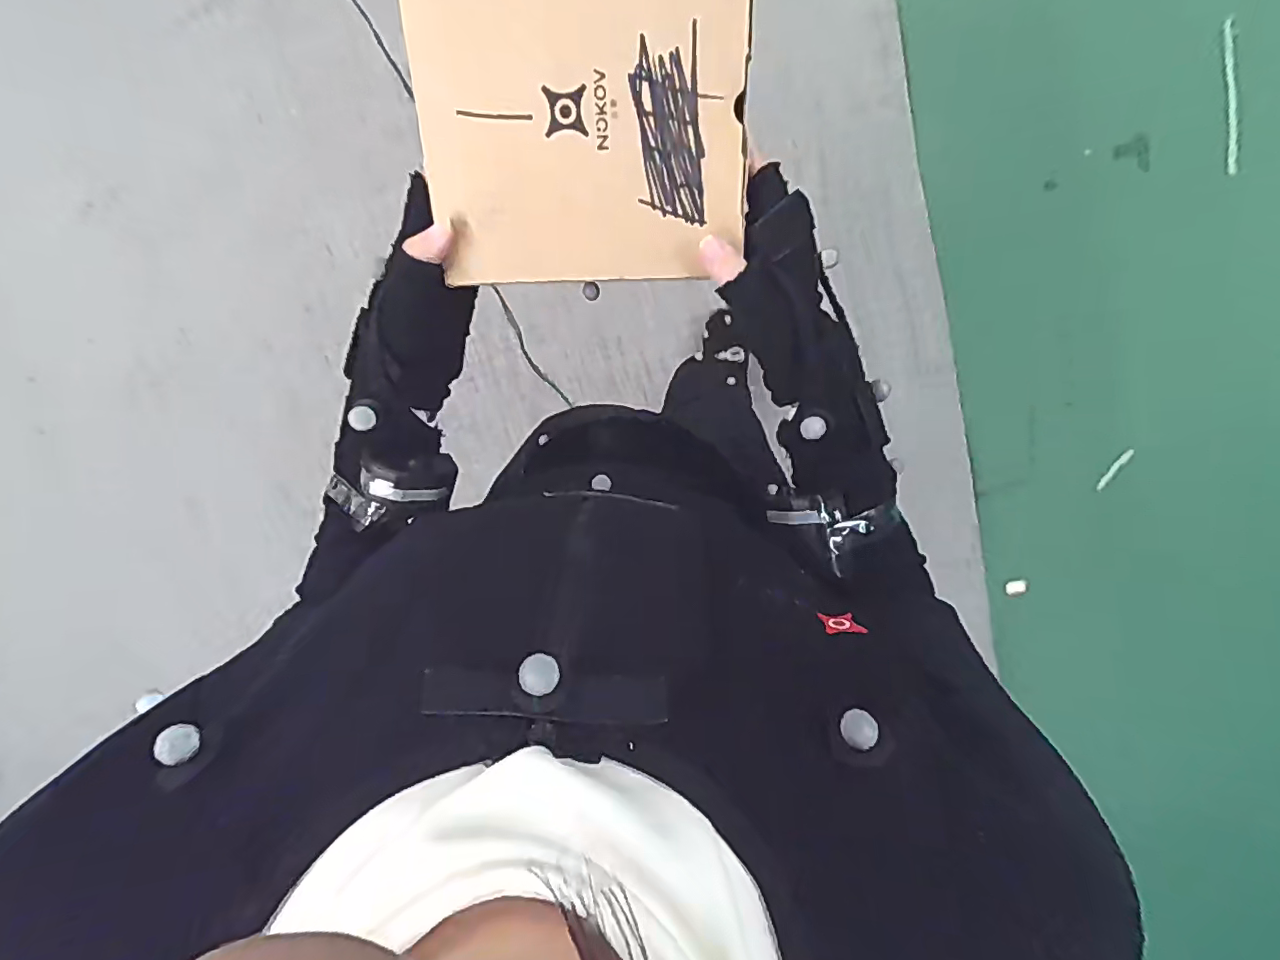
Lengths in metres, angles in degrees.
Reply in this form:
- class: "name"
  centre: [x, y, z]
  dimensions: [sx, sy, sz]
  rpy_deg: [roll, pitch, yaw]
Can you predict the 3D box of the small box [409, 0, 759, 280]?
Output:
- class: "small box"
  centre: [-0.026, -0.232, 0.360]
  dimensions: [0.179, 0.176, 0.168]
  rpy_deg: [-5, 113, 1]
